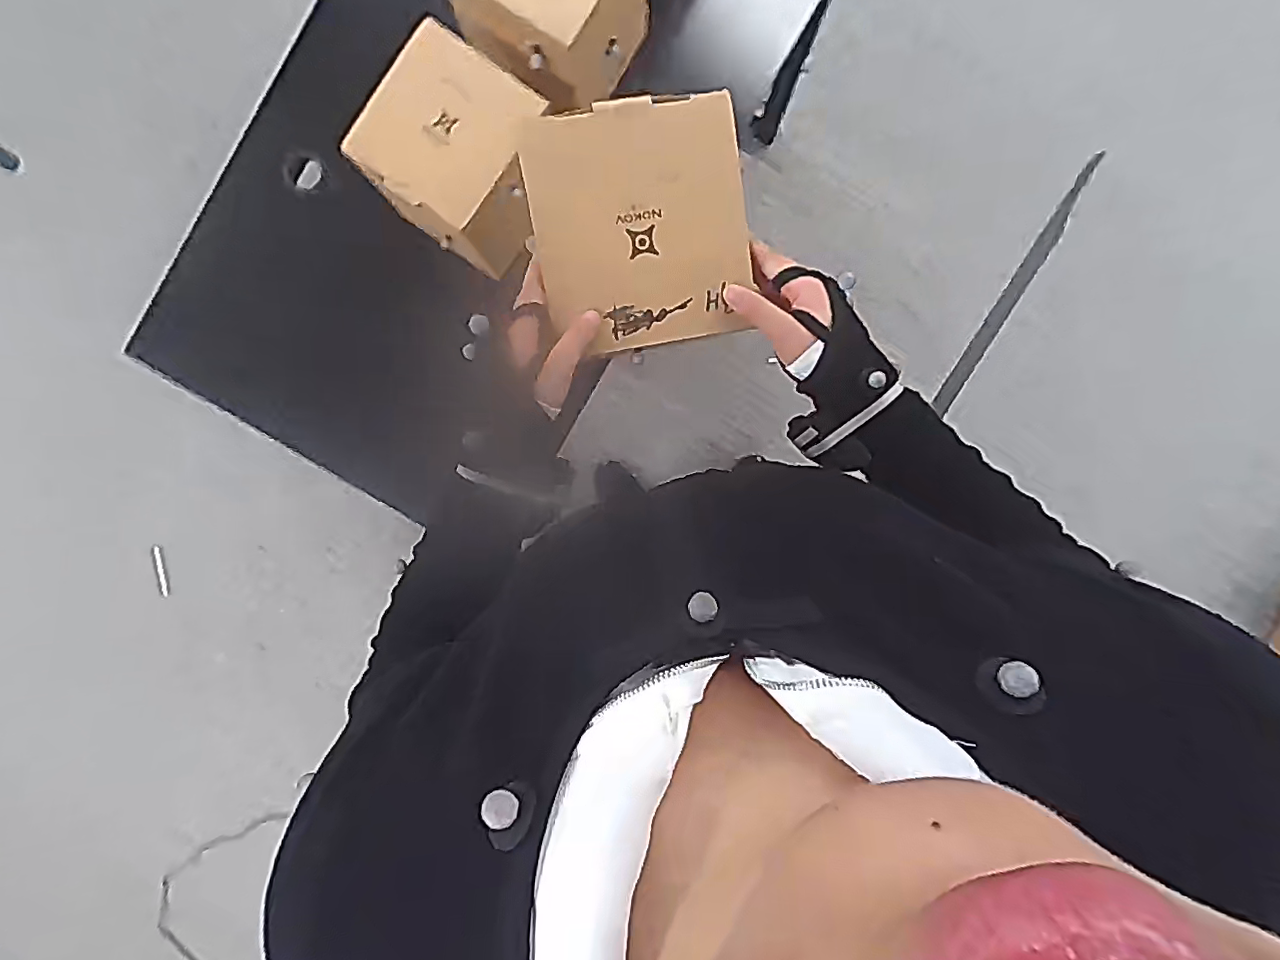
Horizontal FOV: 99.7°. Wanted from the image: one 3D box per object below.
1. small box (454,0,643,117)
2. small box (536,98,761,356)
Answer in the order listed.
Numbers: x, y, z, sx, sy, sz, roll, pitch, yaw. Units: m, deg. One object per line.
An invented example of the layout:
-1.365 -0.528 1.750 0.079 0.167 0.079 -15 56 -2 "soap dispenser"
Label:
-0.106 -0.595 0.683 0.179 0.176 0.168 32 92 0 "small box"
0.004 -0.216 0.507 0.168 0.176 0.179 -9 103 -2 "small box"
